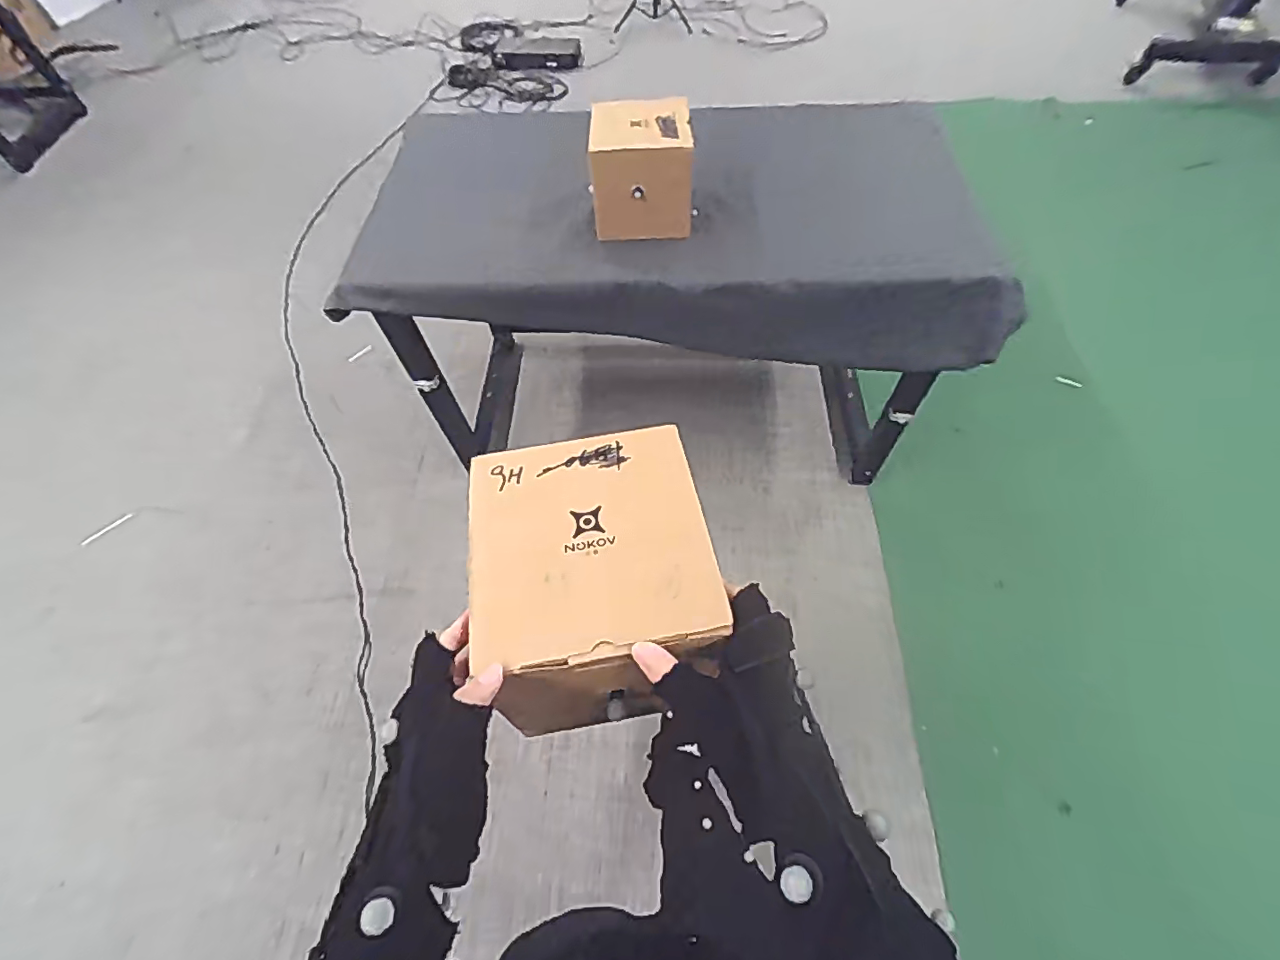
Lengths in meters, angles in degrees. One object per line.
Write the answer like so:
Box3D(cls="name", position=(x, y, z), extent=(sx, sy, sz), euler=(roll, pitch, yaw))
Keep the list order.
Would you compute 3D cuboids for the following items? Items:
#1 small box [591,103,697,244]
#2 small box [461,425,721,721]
Box3D(cls="small box", position=(0.003, -0.558, 0.993), extent=(0.179, 0.176, 0.168), euler=(-3, 59, -1))
Box3D(cls="small box", position=(-0.038, 0.084, 0.441), extent=(0.168, 0.176, 0.179), euler=(-10, 55, -4))
